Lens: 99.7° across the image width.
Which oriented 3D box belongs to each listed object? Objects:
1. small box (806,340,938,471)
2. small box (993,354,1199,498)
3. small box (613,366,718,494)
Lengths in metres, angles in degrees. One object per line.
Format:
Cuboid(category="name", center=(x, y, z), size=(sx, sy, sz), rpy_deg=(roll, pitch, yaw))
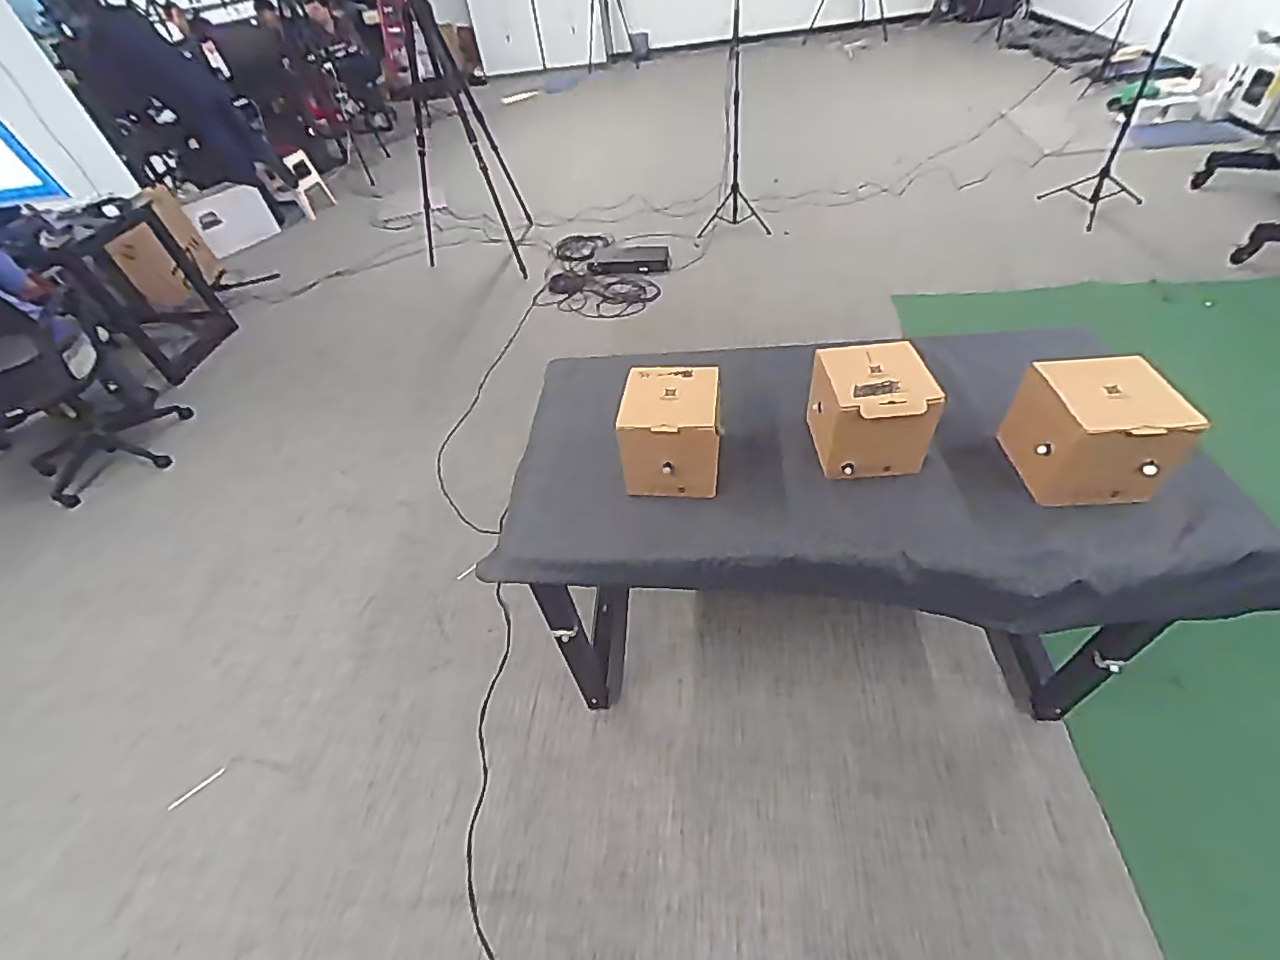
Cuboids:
Cuboid(category="small box", center=(0.405, -0.128, 0.977), size=(0.168, 0.176, 0.179), rpy_deg=(-4, 45, 5))
Cuboid(category="small box", center=(0.722, -0.082, 0.885), size=(0.168, 0.176, 0.179), rpy_deg=(-3, 45, 5))
Cuboid(category="small box", center=(0.056, -0.090, 0.996), size=(0.168, 0.176, 0.179), rpy_deg=(2, 47, 10))
